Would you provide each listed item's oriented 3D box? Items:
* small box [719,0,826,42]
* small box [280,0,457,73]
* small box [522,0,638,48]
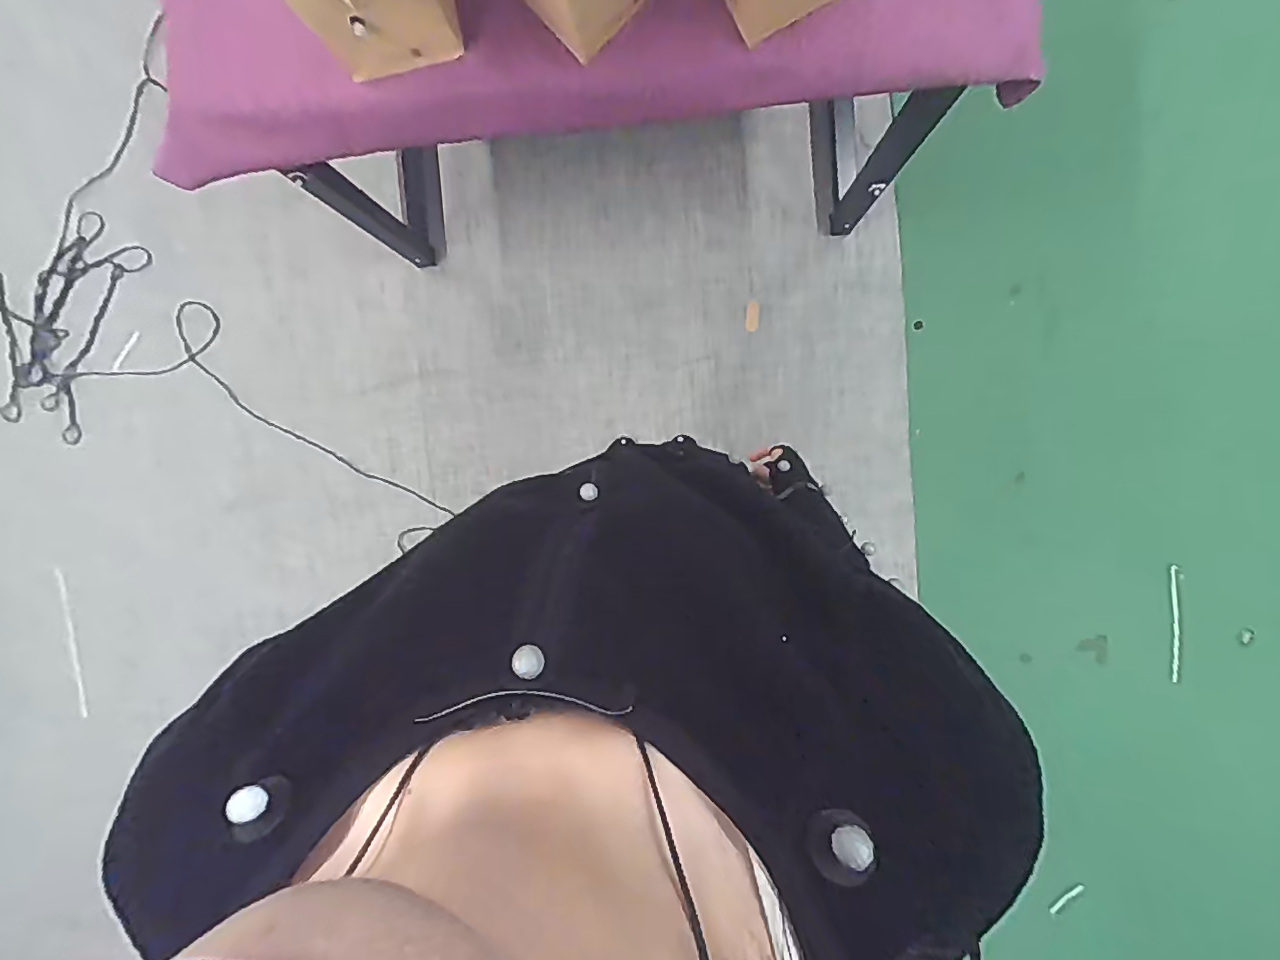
[{"bbox_3d":[0.175,-0.692,0.644,0.179,0.176,0.168,-26,90,5],"label":"small box"},{"bbox_3d":[-0.349,-0.656,0.677,0.168,0.176,0.179,-11,91,4],"label":"small box"},{"bbox_3d":[-0.086,-0.685,0.657,0.168,0.176,0.179,-42,90,4],"label":"small box"}]
